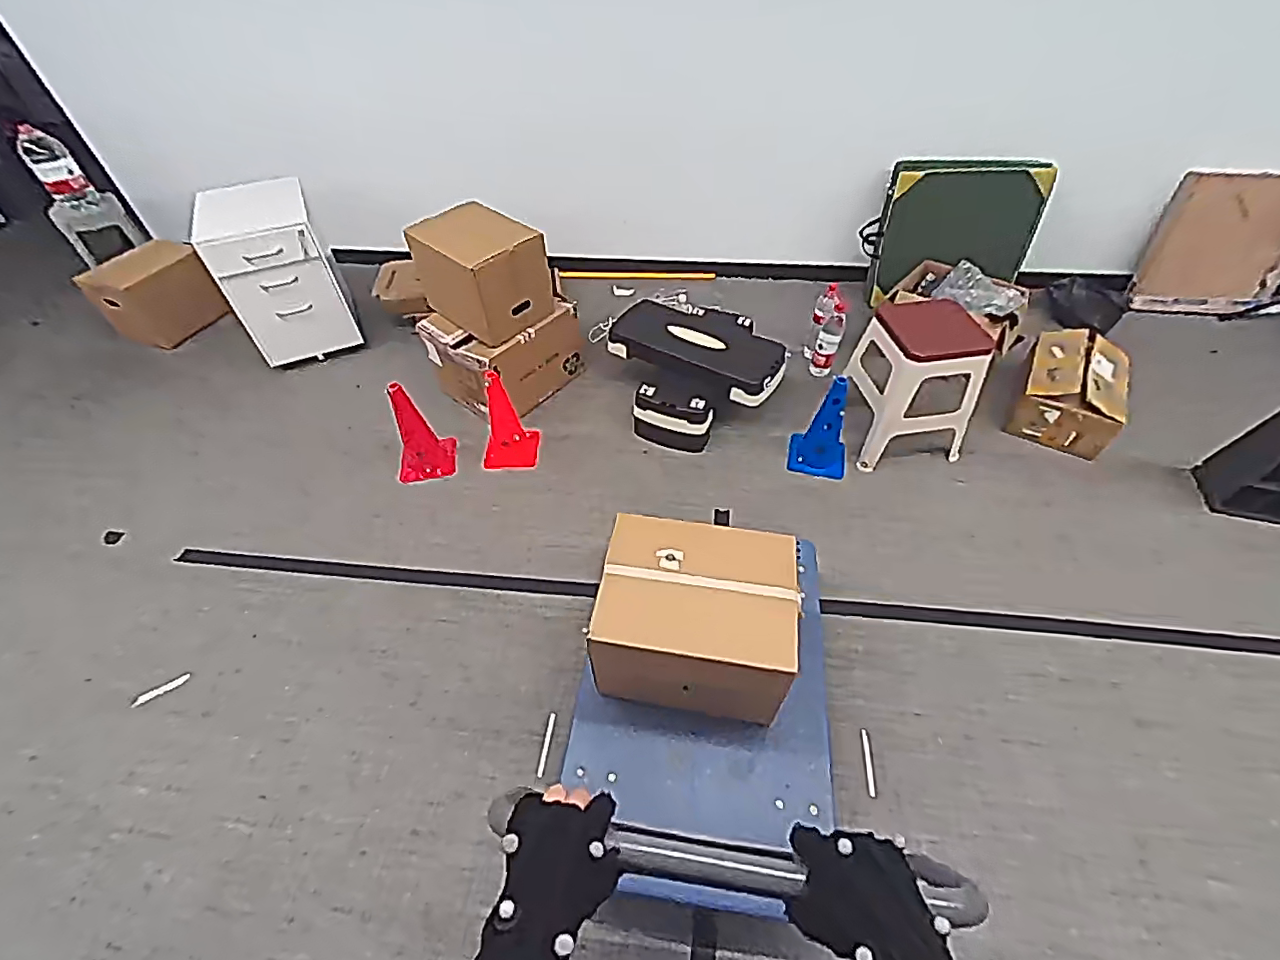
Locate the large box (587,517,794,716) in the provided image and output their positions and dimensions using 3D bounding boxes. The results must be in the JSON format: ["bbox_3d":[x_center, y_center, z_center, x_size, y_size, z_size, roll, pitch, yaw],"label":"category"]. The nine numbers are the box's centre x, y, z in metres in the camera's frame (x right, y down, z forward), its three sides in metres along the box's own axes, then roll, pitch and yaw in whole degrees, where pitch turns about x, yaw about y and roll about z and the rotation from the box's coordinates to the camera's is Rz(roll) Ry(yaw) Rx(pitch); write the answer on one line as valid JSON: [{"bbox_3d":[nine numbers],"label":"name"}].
[{"bbox_3d":[0.122,0.315,1.236,0.408,0.320,0.320,7,50,8],"label":"large box"}]
